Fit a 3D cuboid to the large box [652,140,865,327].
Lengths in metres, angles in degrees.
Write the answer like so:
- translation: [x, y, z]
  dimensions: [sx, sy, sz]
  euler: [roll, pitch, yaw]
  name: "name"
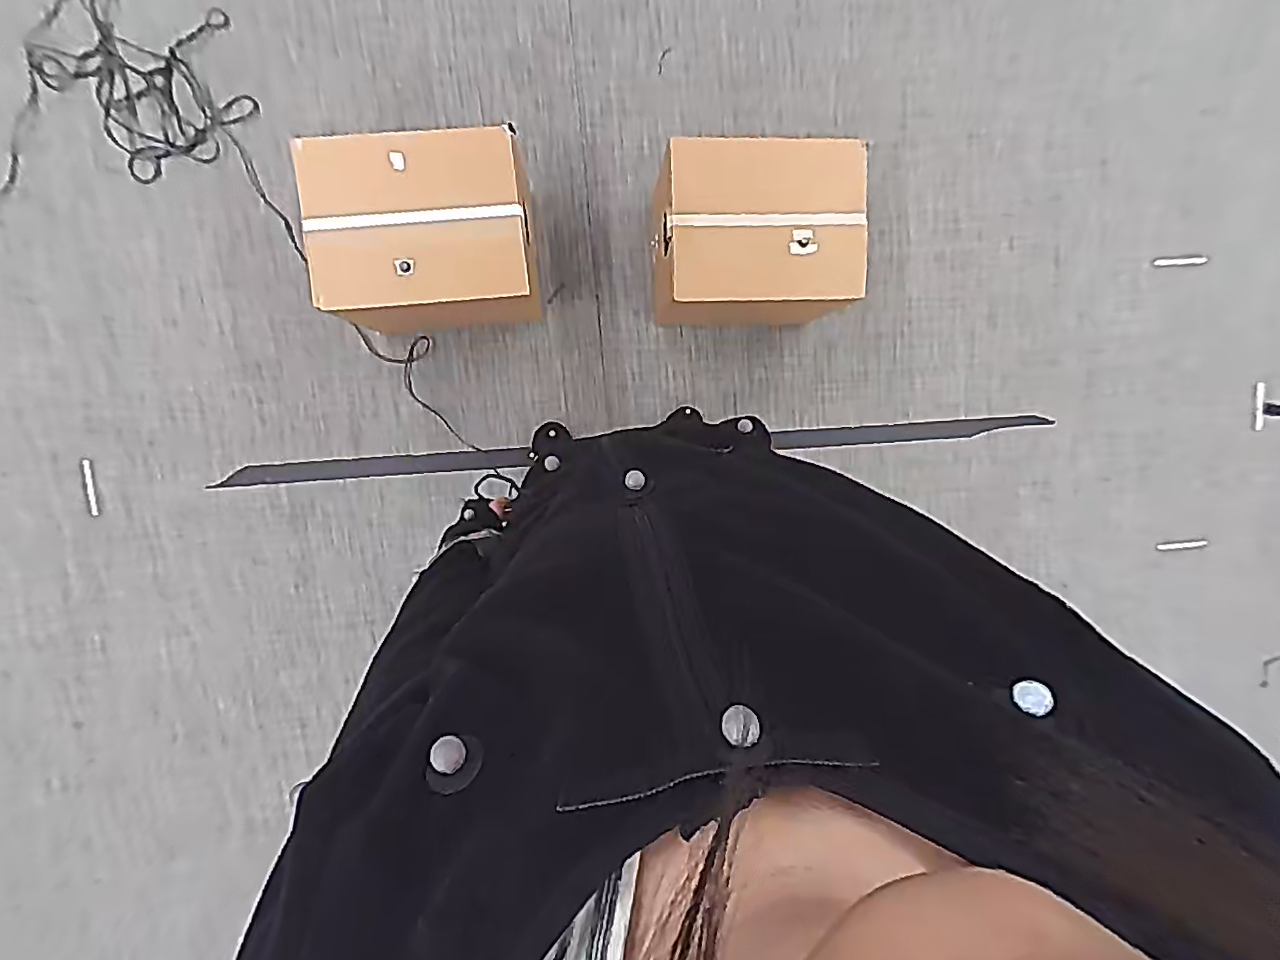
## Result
- translation: [0.249, -0.541, 1.244]
  dimensions: [0.408, 0.320, 0.320]
  euler: [-2, 97, -6]
  name: "large box"
